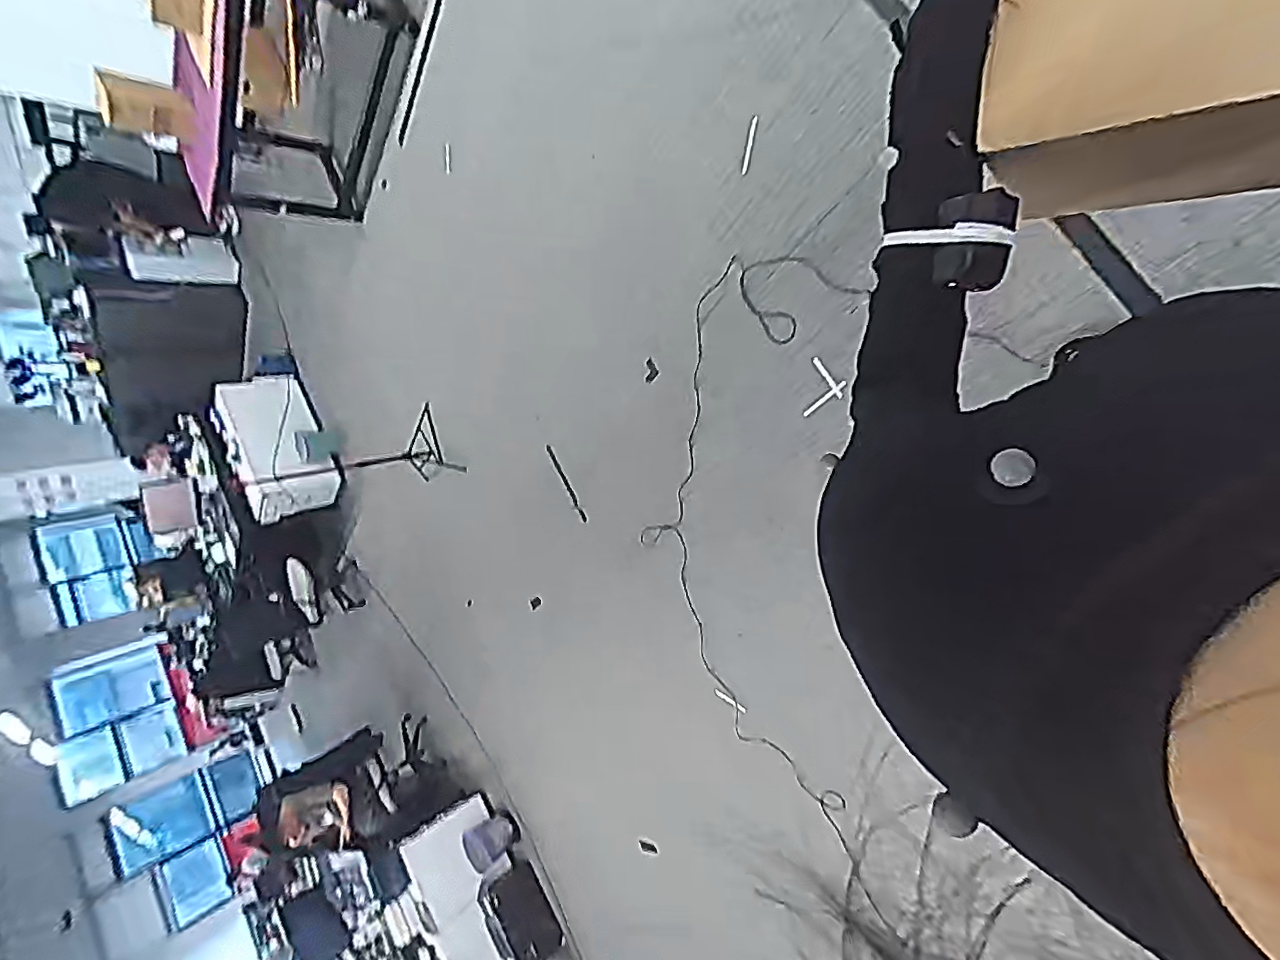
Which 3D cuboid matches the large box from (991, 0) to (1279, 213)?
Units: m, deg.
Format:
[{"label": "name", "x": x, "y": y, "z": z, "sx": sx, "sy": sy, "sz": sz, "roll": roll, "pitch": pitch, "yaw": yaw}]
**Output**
[{"label": "large box", "x": 0.494, "y": -0.396, "z": 0.351, "sx": 0.408, "sy": 0.320, "sz": 0.320, "roll": 10, "pitch": 109, "yaw": 37}]
